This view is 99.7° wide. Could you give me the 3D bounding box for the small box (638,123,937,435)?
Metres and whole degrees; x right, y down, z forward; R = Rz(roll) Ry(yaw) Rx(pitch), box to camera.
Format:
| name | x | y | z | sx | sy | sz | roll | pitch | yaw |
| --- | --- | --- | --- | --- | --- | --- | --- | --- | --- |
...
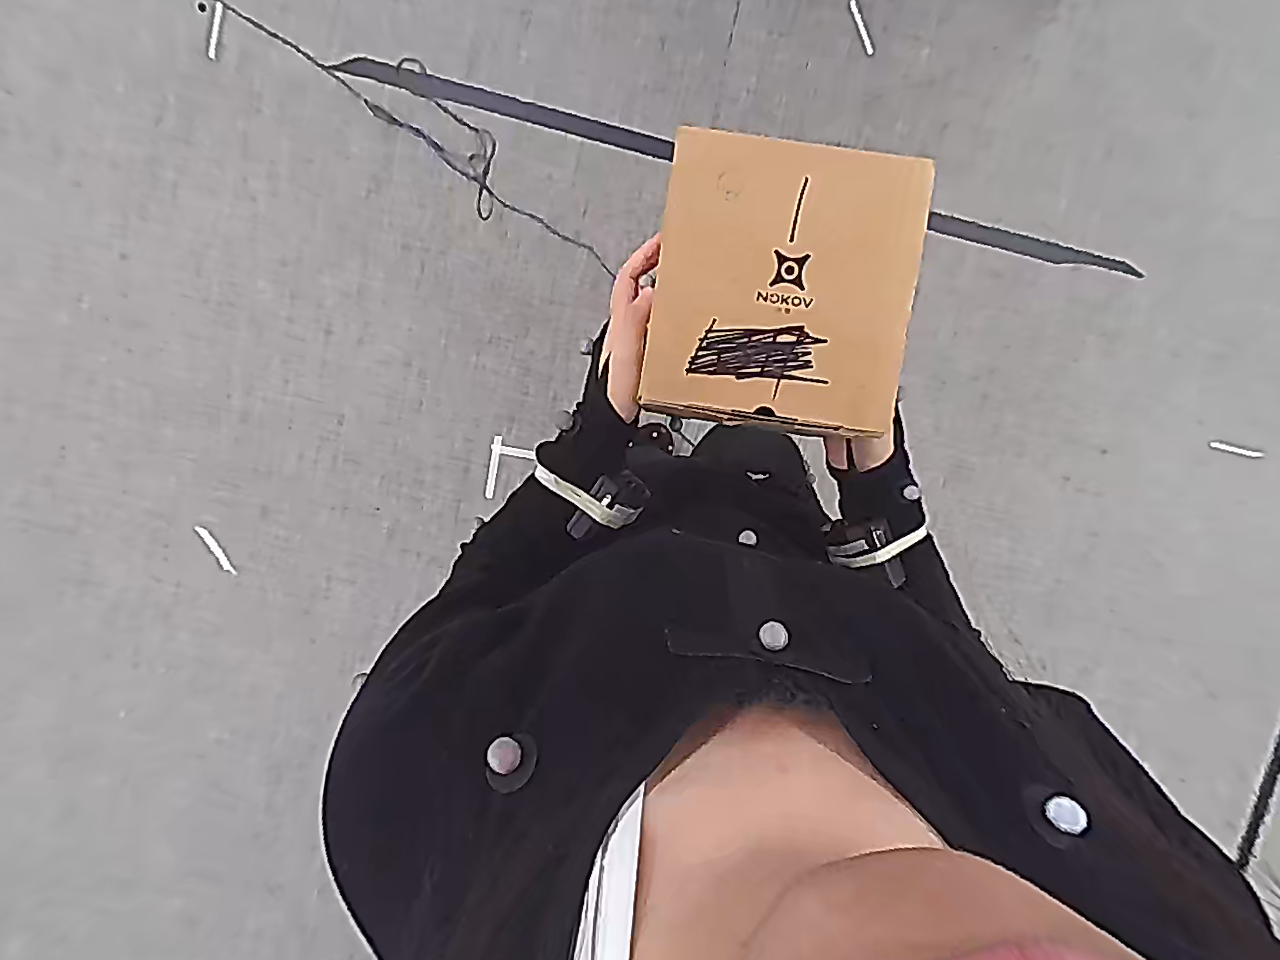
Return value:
| name | x | y | z | sx | sy | sz | roll | pitch | yaw |
| --- | --- | --- | --- | --- | --- | --- | --- | --- | --- |
| small box | 0.094 | -0.133 | 0.424 | 0.168 | 0.176 | 0.179 | 9 | 94 | 0 |
